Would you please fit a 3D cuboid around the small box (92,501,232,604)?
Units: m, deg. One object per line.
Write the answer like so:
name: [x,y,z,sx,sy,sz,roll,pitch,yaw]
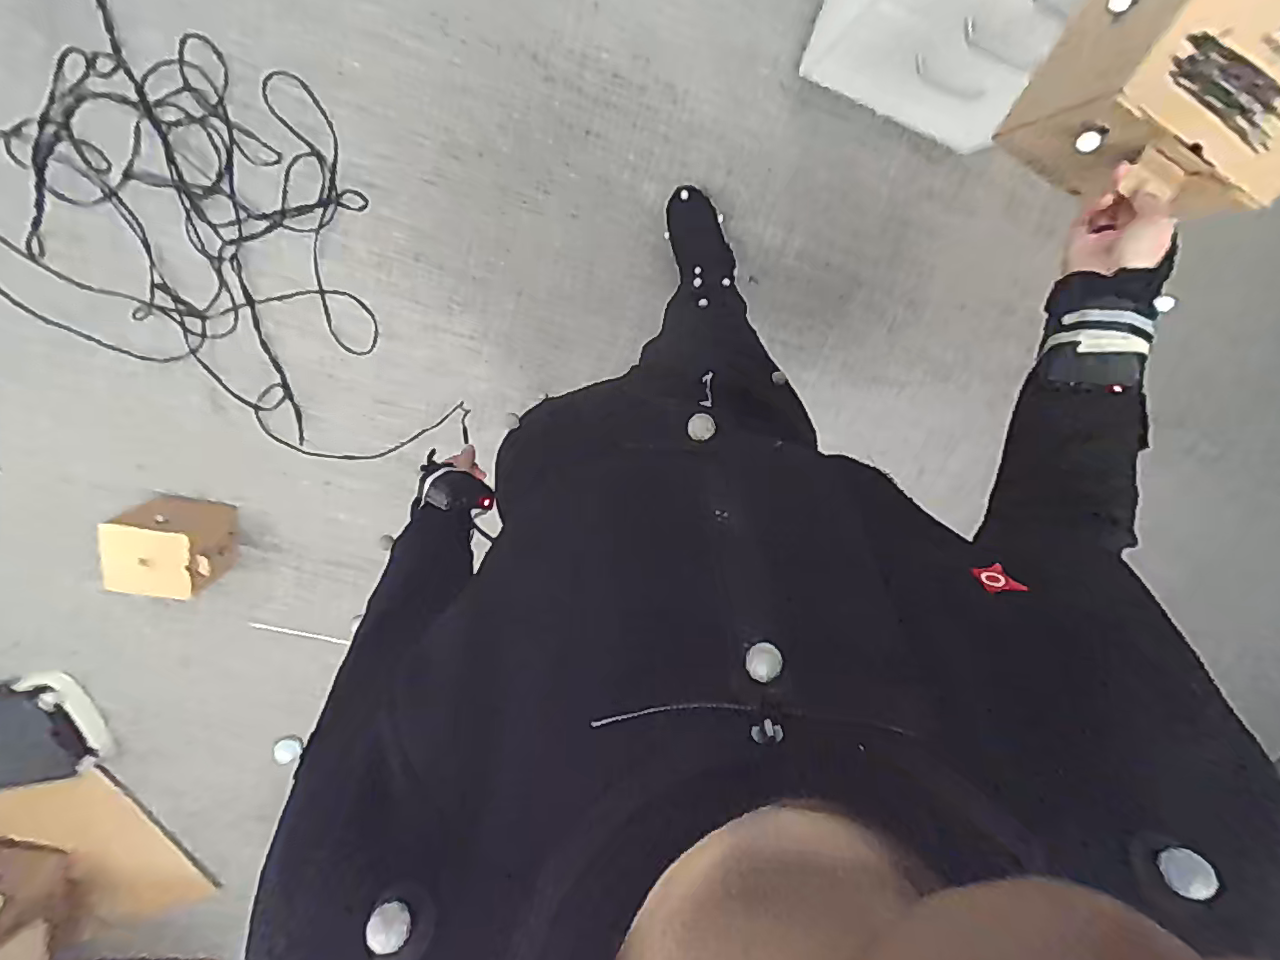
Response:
small box: [-1.078,0.159,1.232,0.179,0.176,0.168,11,107,-9]
